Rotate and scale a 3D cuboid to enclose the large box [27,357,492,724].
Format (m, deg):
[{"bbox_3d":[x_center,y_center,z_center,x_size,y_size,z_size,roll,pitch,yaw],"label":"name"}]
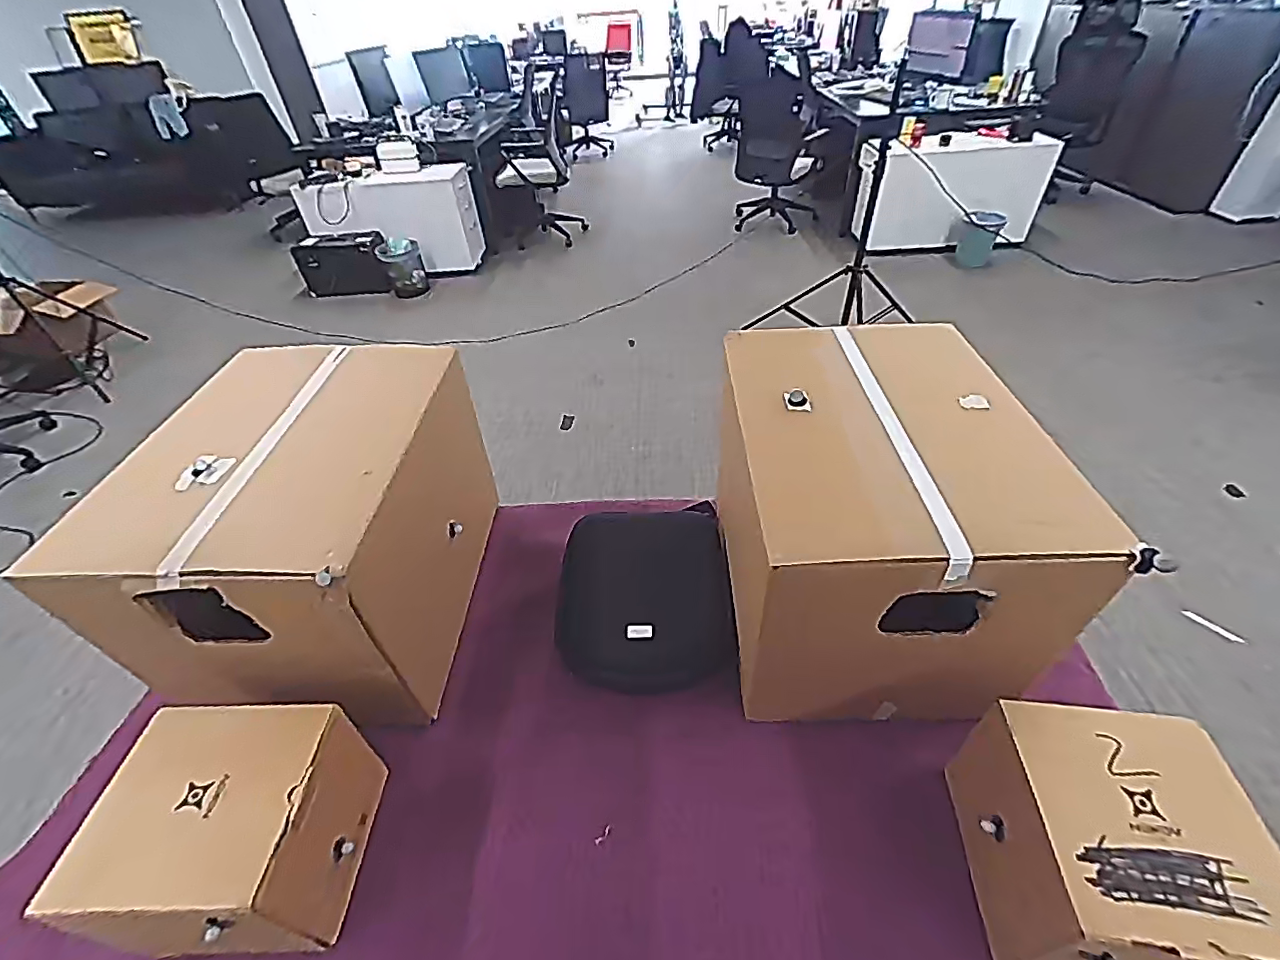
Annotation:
[{"bbox_3d":[-0.414,0.072,0.738,0.320,0.320,0.408,-1,45,1],"label":"large box"}]
